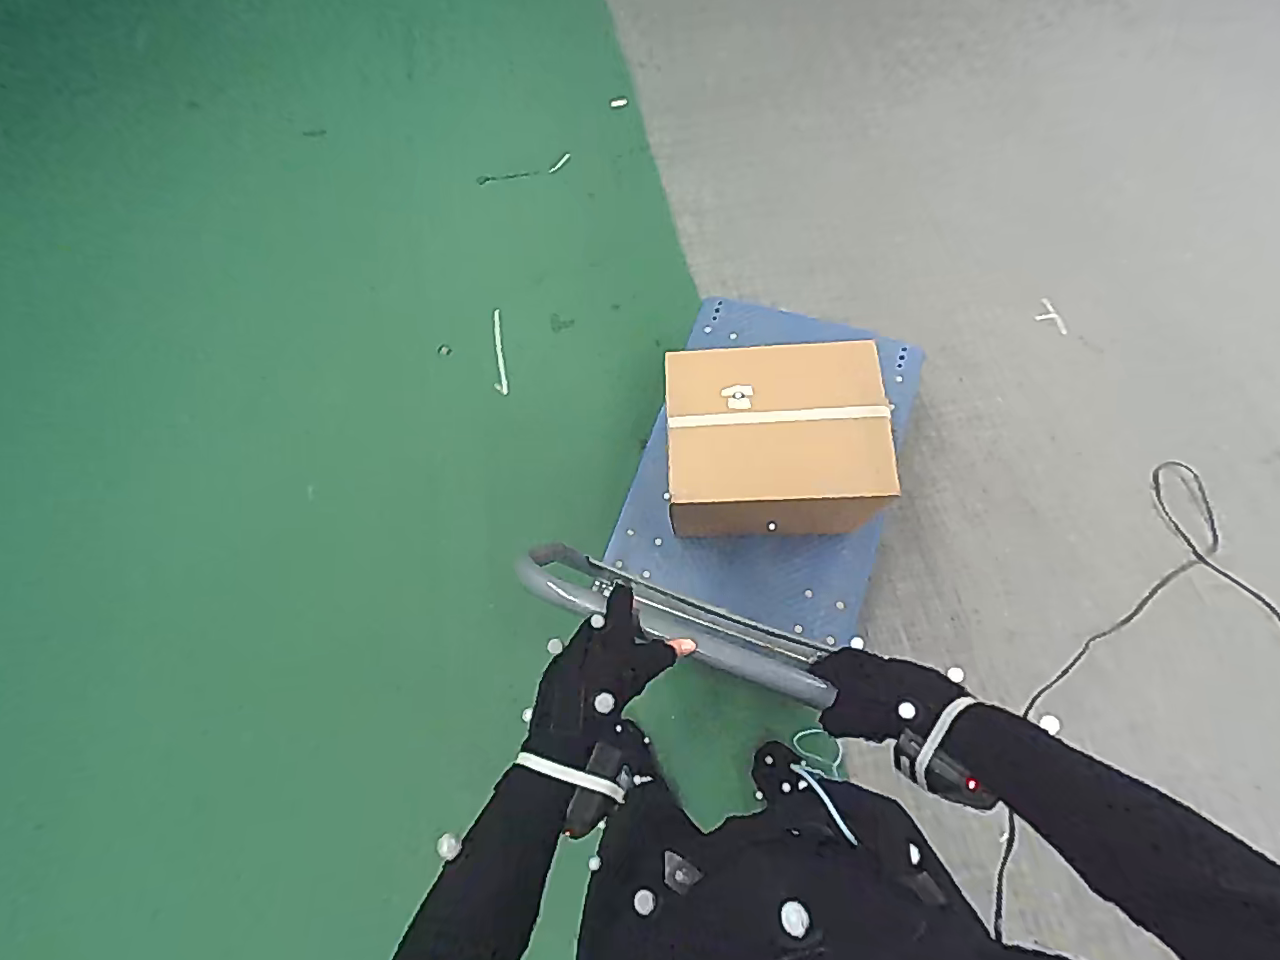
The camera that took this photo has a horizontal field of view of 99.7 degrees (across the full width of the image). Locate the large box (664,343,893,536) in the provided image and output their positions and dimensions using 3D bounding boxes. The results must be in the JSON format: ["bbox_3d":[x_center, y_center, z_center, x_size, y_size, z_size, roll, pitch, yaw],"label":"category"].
[{"bbox_3d":[0.267,-0.065,1.161,0.408,0.320,0.320,-3,71,6],"label":"large box"}]
